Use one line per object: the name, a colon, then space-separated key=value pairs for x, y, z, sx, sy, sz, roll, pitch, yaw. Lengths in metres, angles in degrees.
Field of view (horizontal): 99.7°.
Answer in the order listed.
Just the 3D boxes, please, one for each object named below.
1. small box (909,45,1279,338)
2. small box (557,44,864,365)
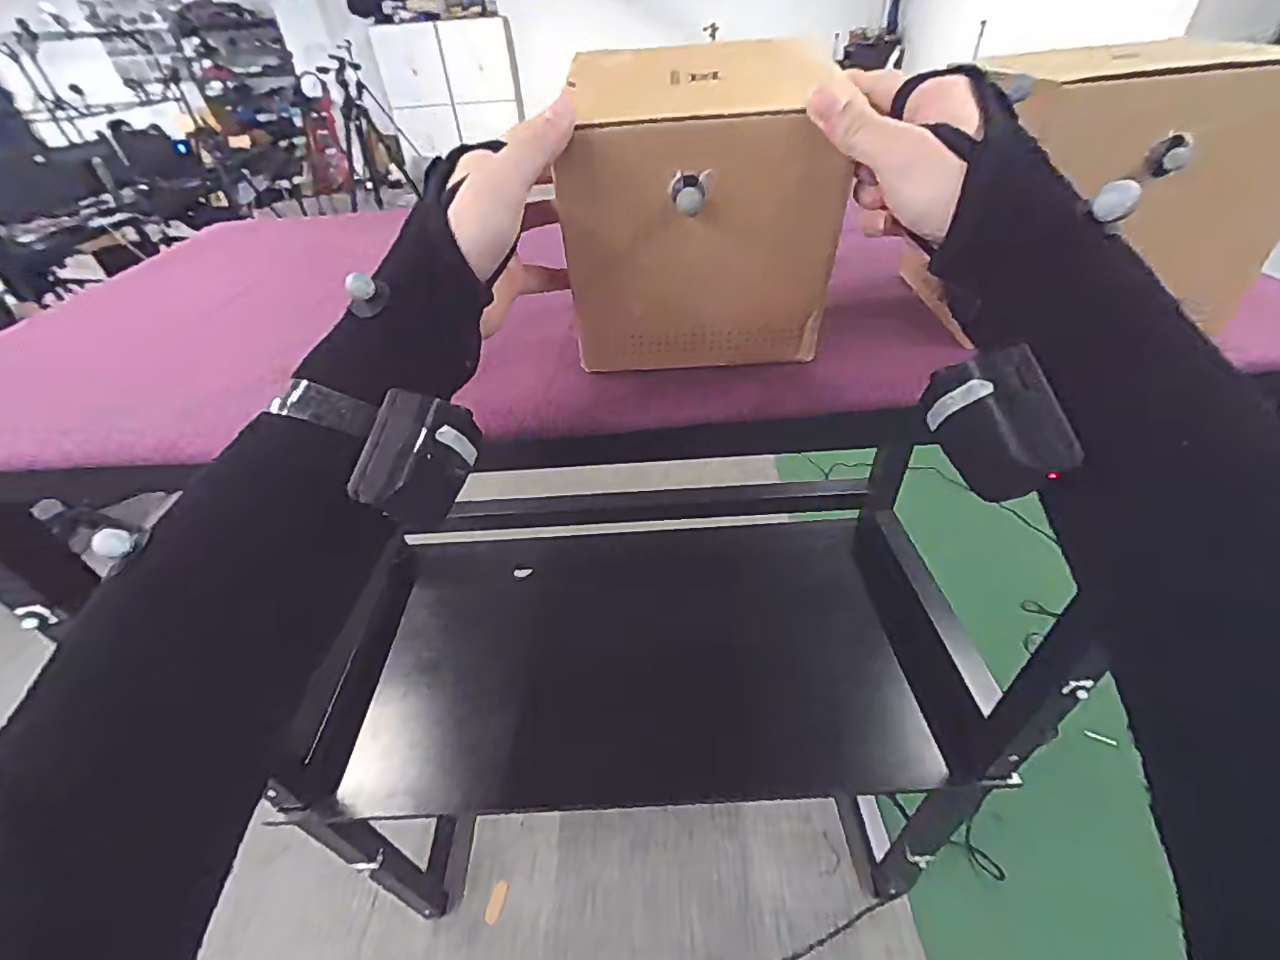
small box: x=0.330 y=-0.220 z=0.419 sx=0.179 sy=0.176 sz=0.168 roll=-1 pitch=41 yaw=5
small box: x=0.044 y=-0.204 z=0.414 sx=0.179 sy=0.176 sz=0.168 roll=-2 pitch=49 yaw=3
